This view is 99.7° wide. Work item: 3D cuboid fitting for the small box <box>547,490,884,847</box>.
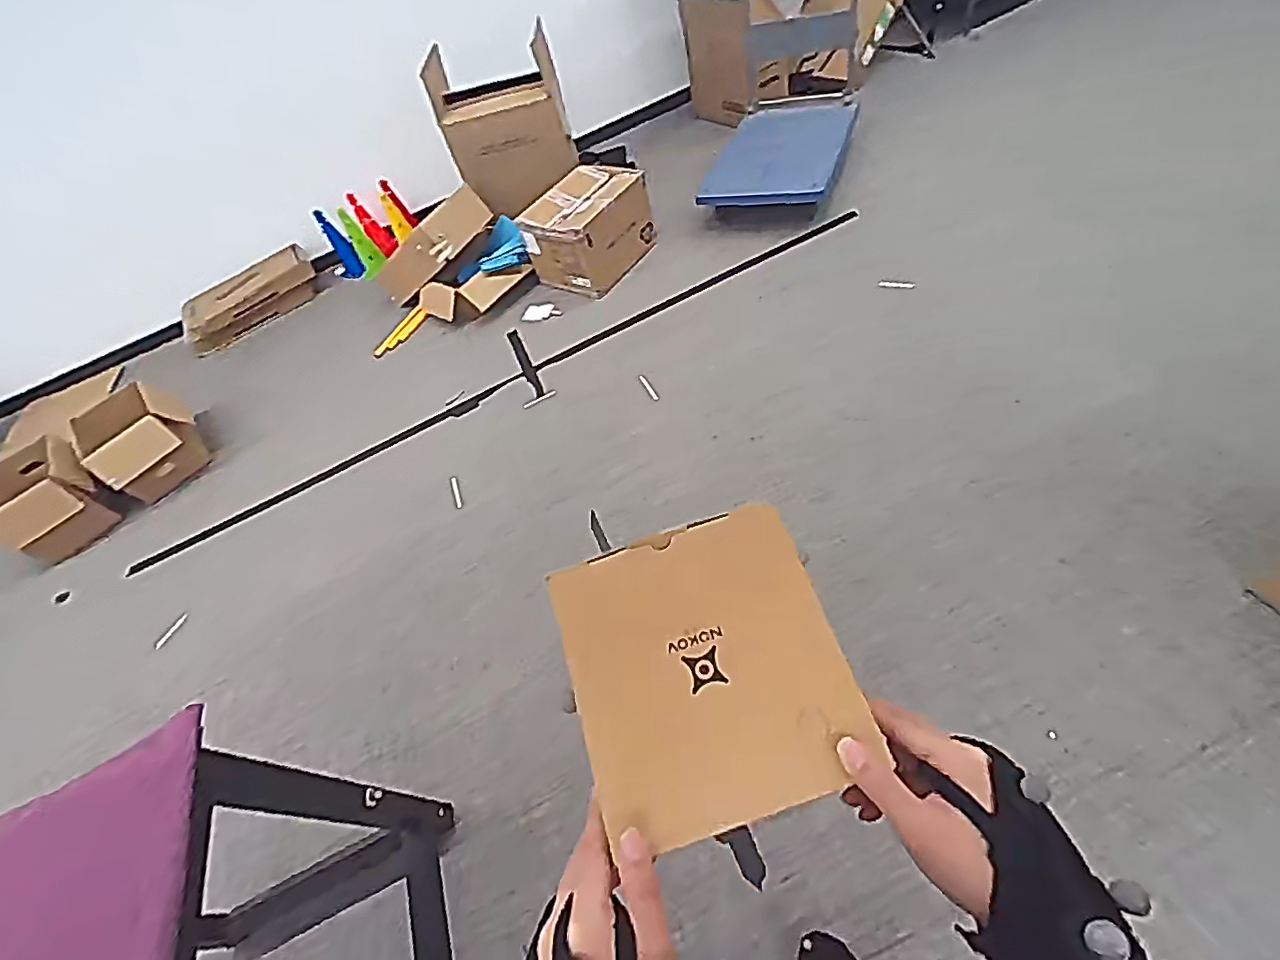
[{"bbox_3d":[0.048,0.138,0.408,0.168,0.176,0.179,-19,63,-1],"label":"small box"}]
